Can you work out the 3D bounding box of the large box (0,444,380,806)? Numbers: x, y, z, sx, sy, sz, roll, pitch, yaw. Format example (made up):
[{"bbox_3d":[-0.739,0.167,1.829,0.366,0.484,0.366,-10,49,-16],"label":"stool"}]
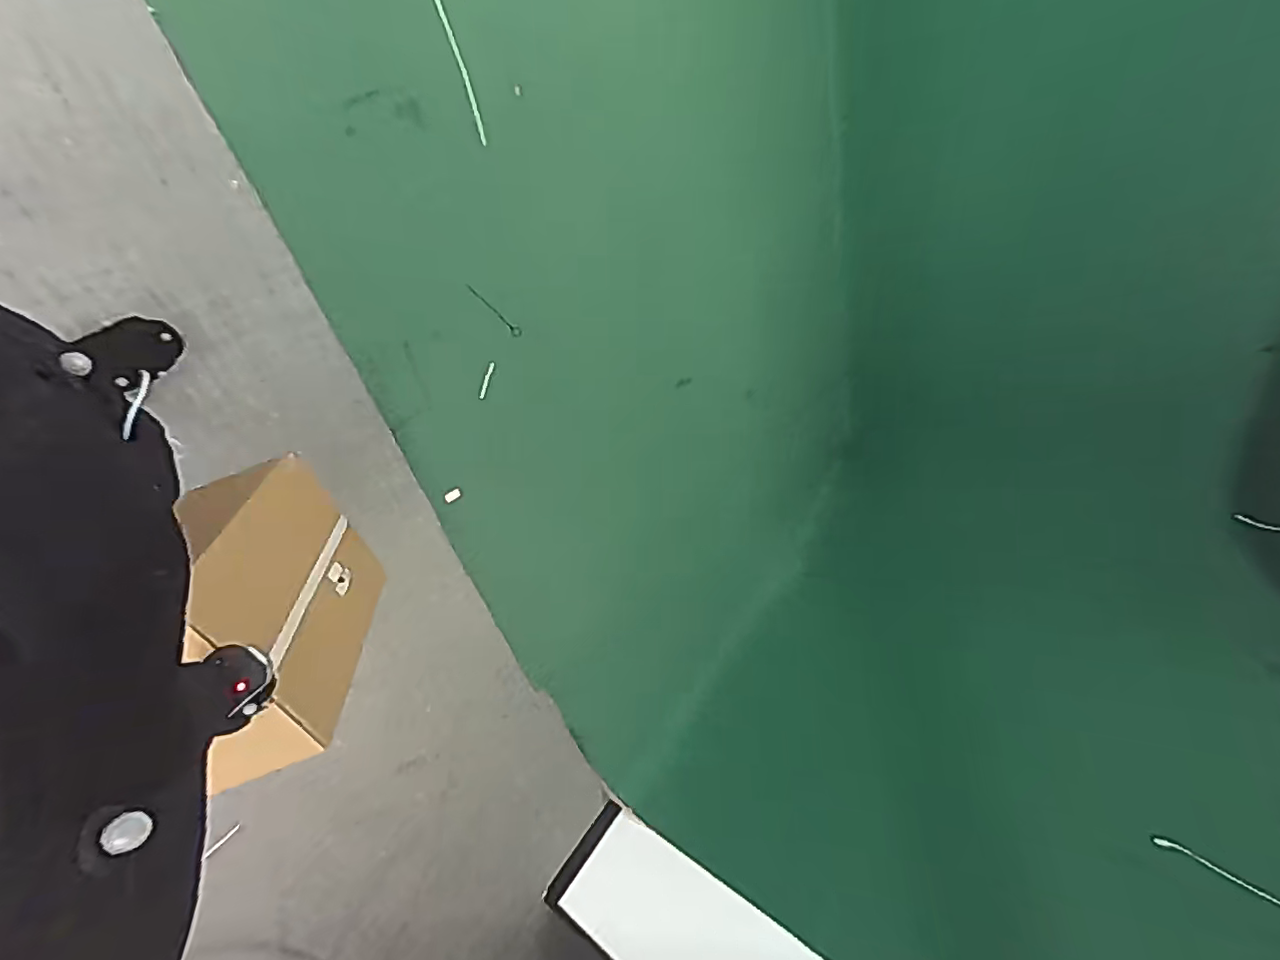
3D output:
[{"bbox_3d":[-0.681,0.207,0.866,0.320,0.408,0.320,-21,121,-2],"label":"large box"}]
